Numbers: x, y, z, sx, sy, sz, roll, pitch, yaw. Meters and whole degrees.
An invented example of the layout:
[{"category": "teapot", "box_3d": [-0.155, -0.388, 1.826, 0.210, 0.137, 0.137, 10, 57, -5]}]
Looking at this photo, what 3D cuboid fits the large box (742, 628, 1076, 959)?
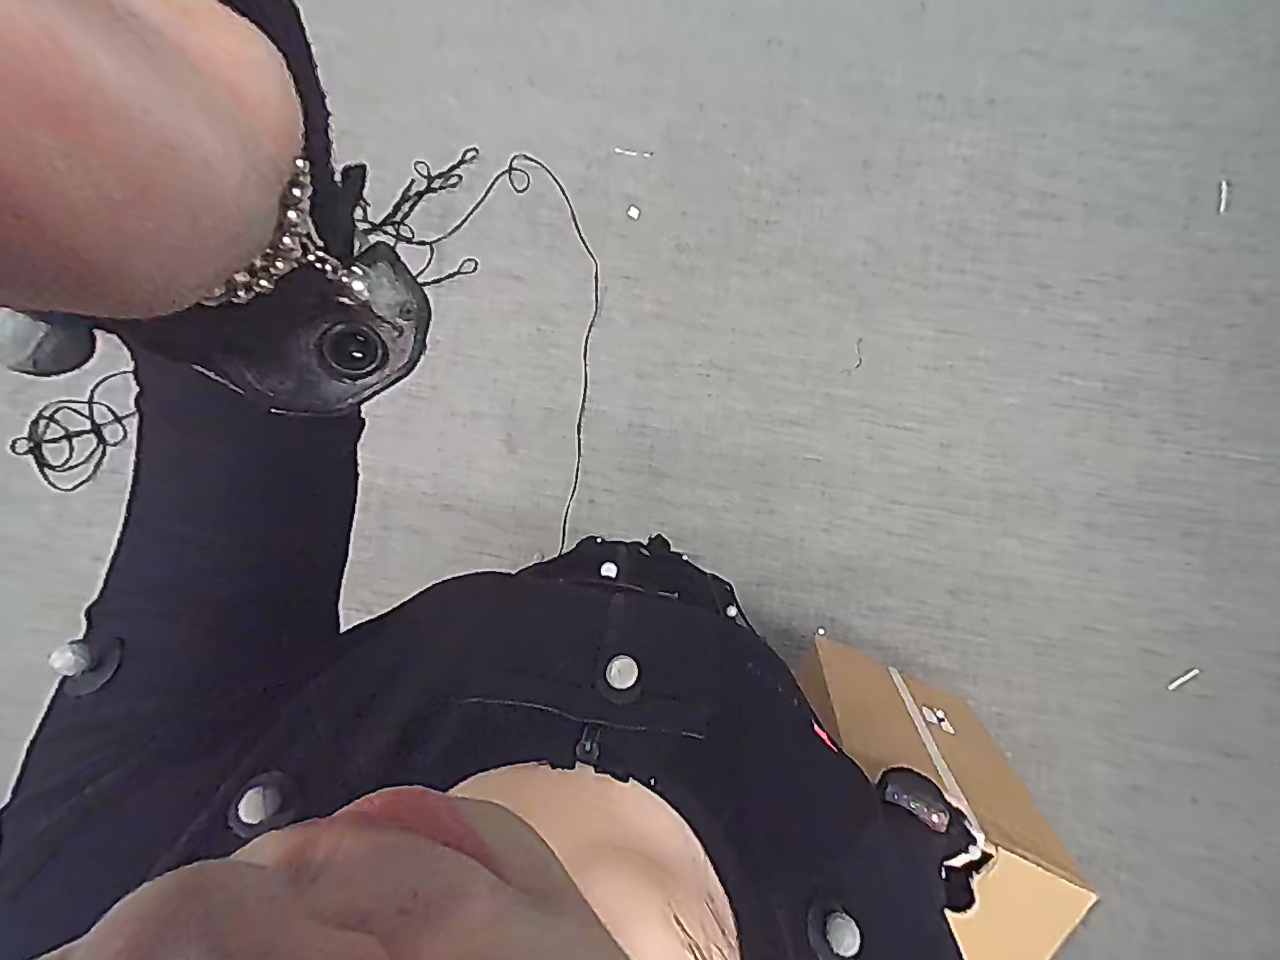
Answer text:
[{"category": "large box", "box_3d": [0.370, 0.520, 0.888, 0.320, 0.408, 0.320, 26, 104, 6]}]
